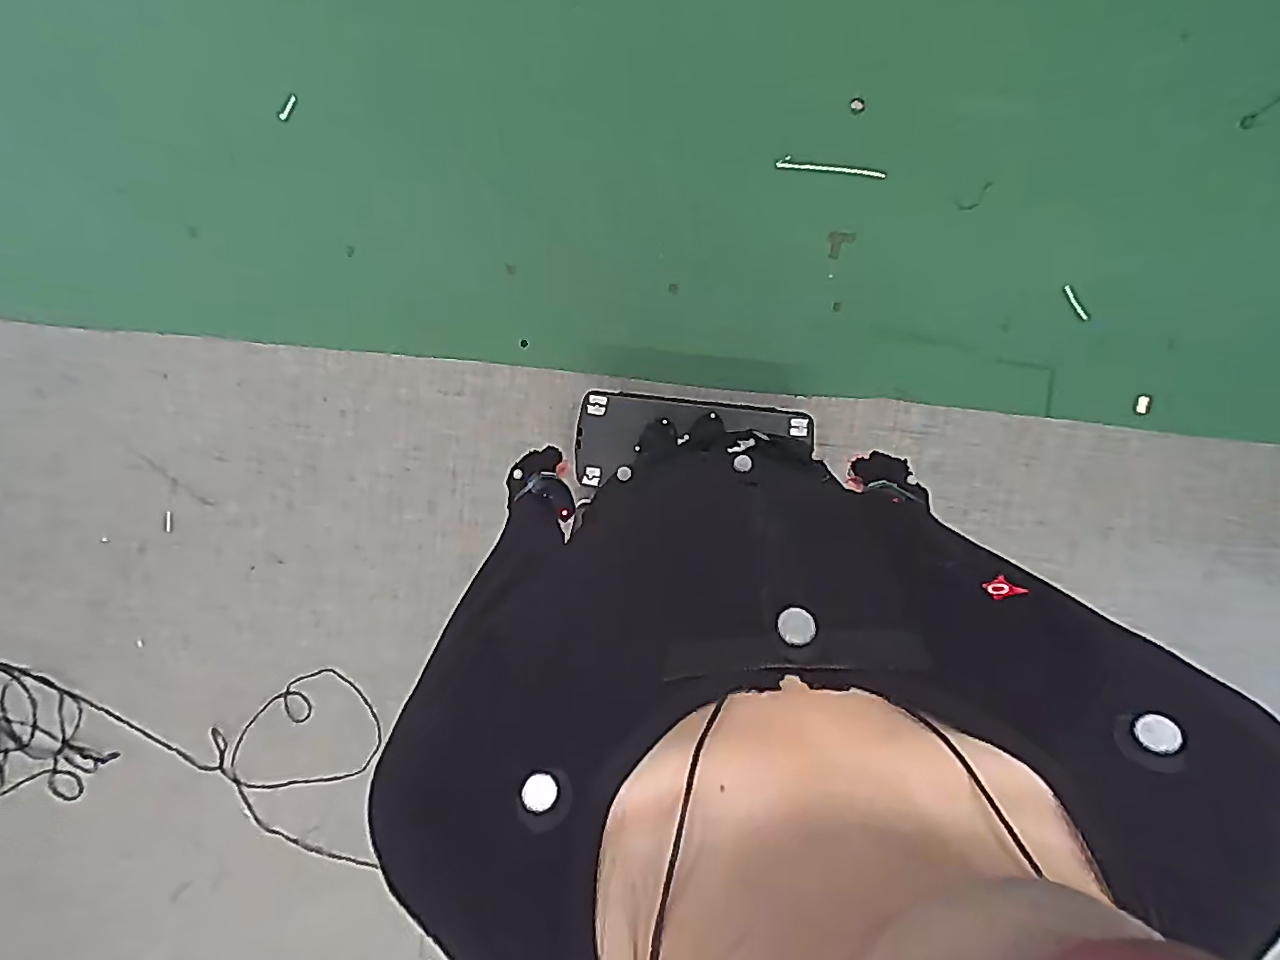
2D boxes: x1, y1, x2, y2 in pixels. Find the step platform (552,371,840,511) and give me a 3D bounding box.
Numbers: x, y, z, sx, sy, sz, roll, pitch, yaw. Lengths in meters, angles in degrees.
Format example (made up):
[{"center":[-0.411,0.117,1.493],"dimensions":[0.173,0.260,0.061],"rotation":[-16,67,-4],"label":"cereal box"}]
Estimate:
[{"center":[0.132,-0.103,1.373],"dimensions":[0.684,0.204,0.286],"rotation":[6,99,2],"label":"step platform"}]
